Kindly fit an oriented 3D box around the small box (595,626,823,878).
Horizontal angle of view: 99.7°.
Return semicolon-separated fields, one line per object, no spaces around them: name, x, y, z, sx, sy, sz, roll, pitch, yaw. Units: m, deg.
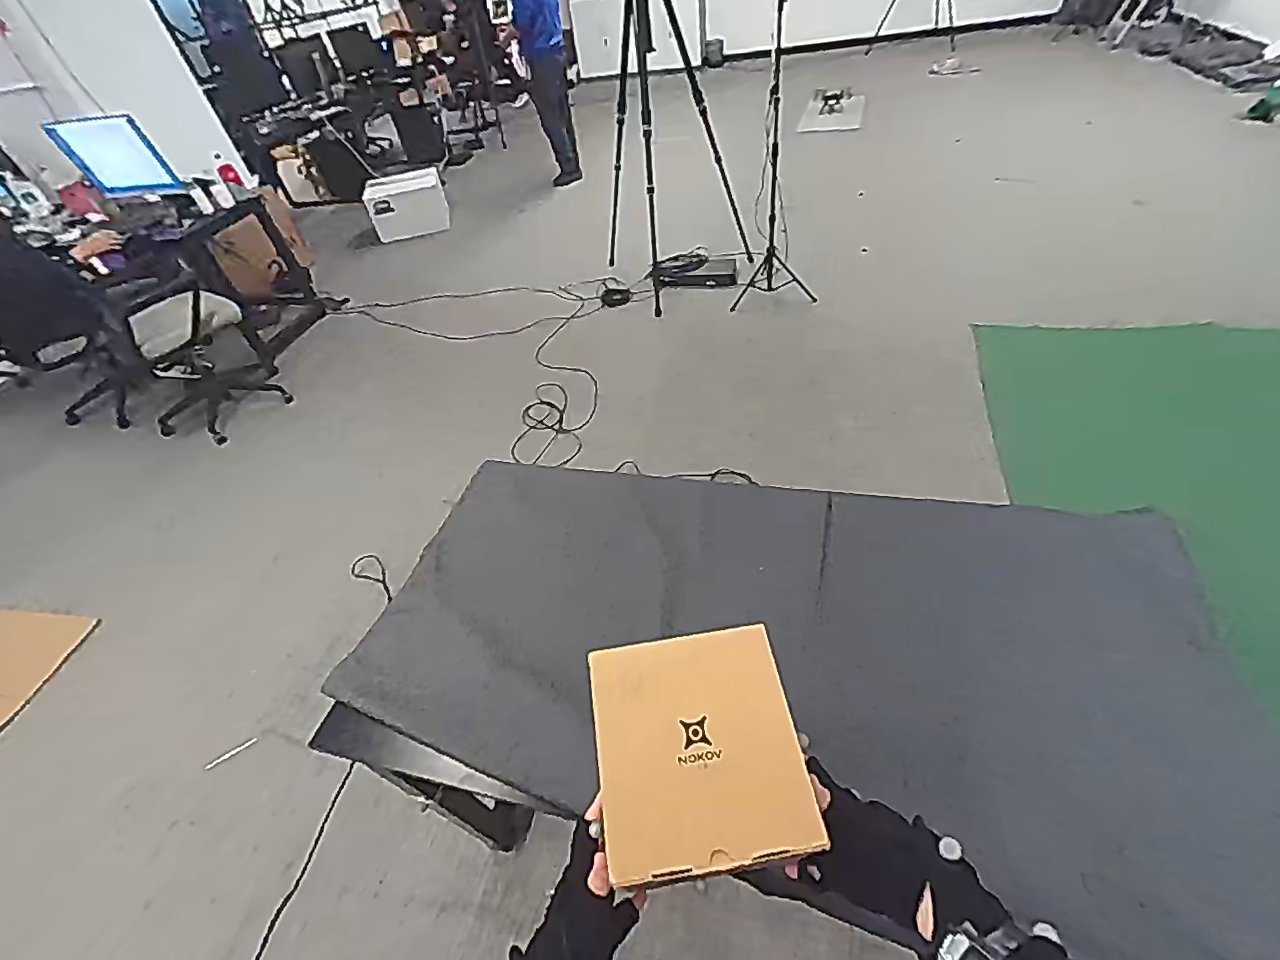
small box;0.050;0.263;0.519;0.168;0.176;0.179;-8;54;-3
